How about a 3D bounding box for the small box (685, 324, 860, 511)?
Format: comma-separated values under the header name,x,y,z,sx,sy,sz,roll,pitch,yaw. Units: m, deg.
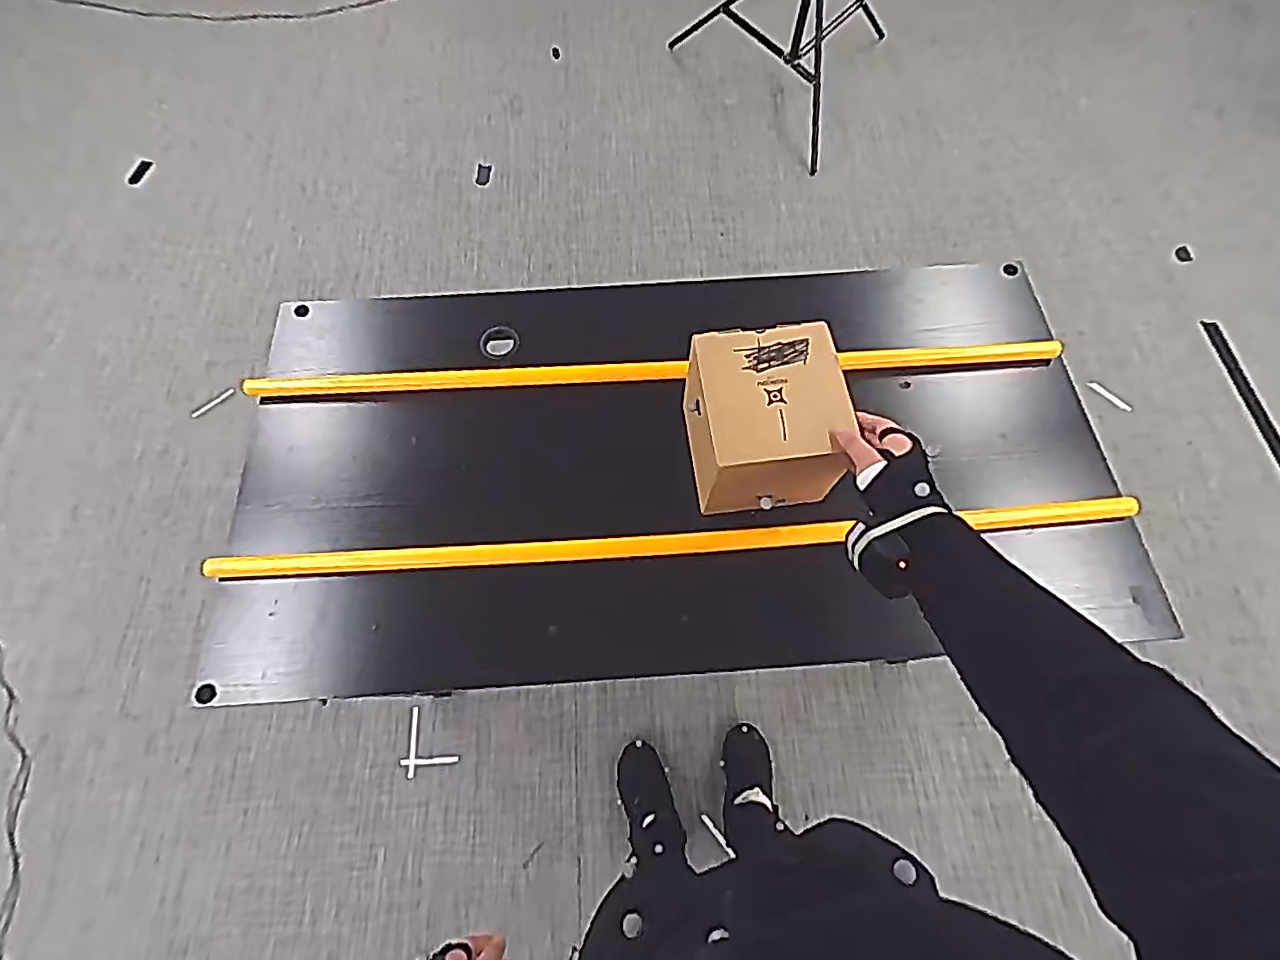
name,x,y,z,sx,sy,sz,roll,pitch,yaw
small box,0.154,-0.074,0.700,0.168,0.176,0.179,-7,69,-2
